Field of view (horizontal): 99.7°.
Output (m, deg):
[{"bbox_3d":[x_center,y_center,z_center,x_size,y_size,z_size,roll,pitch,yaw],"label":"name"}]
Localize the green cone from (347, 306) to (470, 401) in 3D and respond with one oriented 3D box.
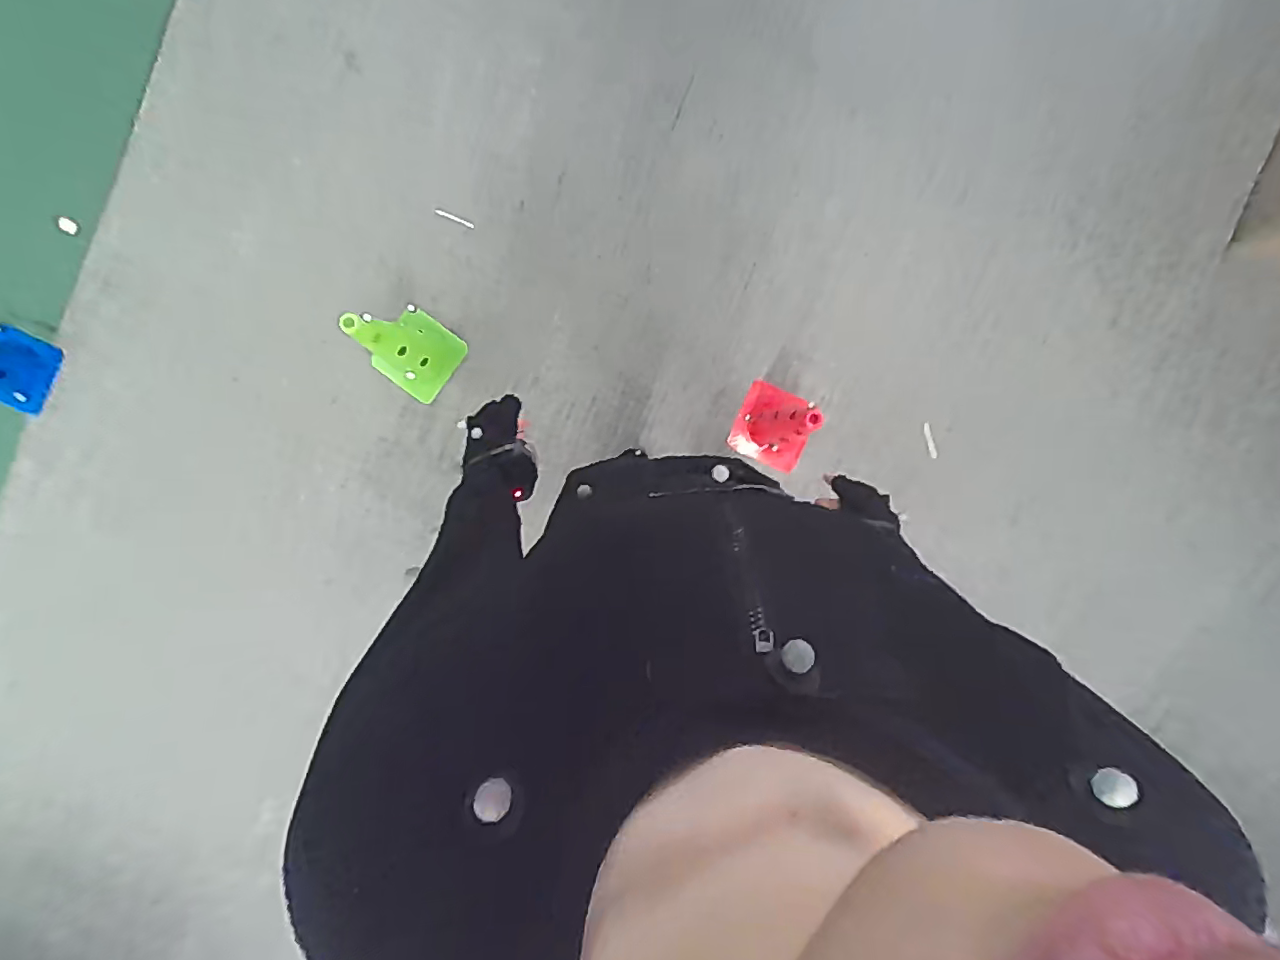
[{"bbox_3d":[-0.587,-0.333,1.285,0.202,0.368,0.200,36,92,-1],"label":"green cone"}]
